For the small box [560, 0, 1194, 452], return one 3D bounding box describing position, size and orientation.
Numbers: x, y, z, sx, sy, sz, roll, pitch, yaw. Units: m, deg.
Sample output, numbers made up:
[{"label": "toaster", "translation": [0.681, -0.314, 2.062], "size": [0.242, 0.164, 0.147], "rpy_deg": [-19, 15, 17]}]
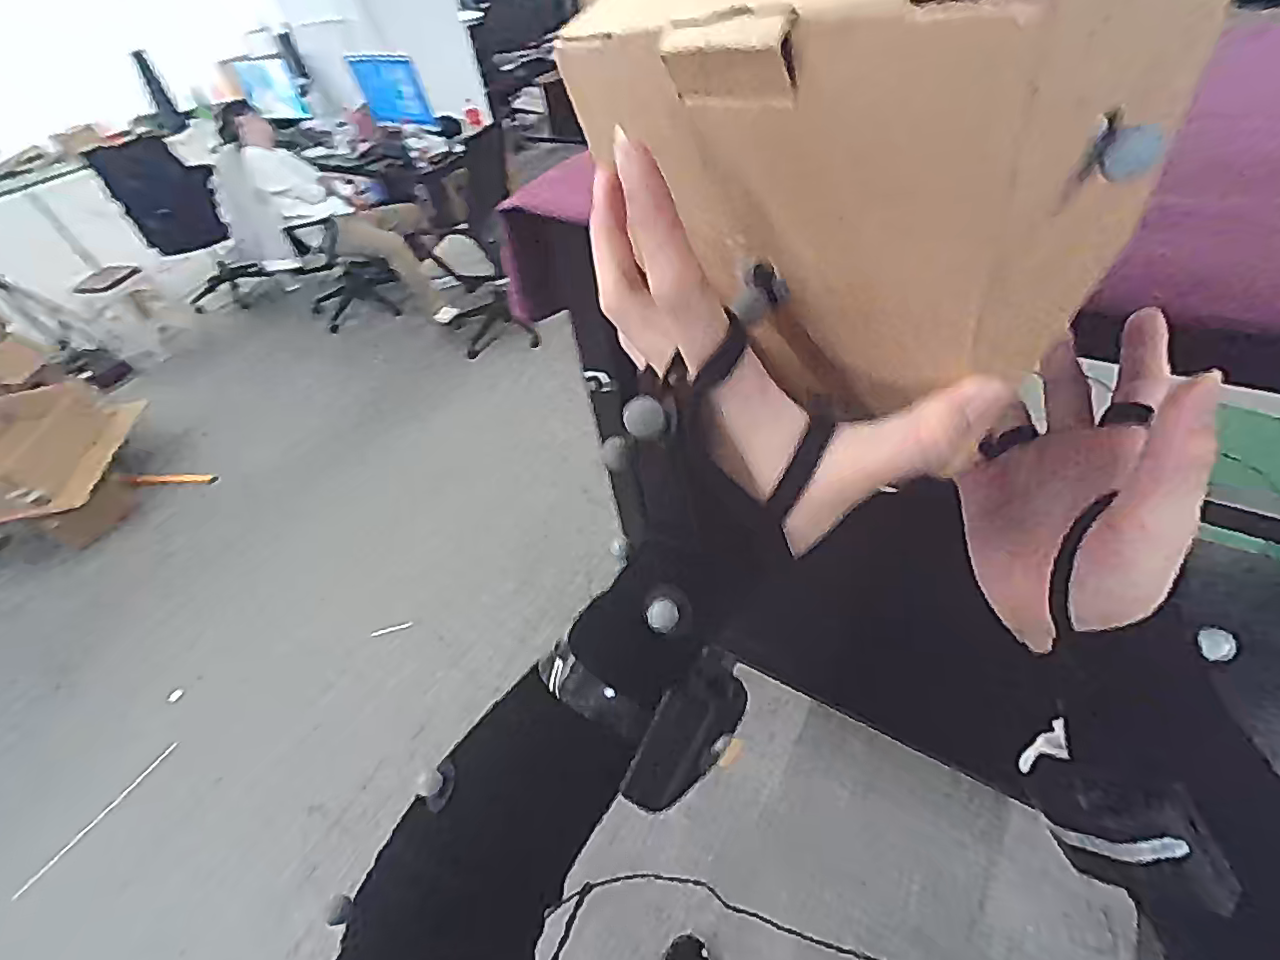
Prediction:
[{"label": "small box", "translation": [0.104, -0.142, 0.241], "size": [0.168, 0.176, 0.179], "rpy_deg": [32, 73, 36]}]
